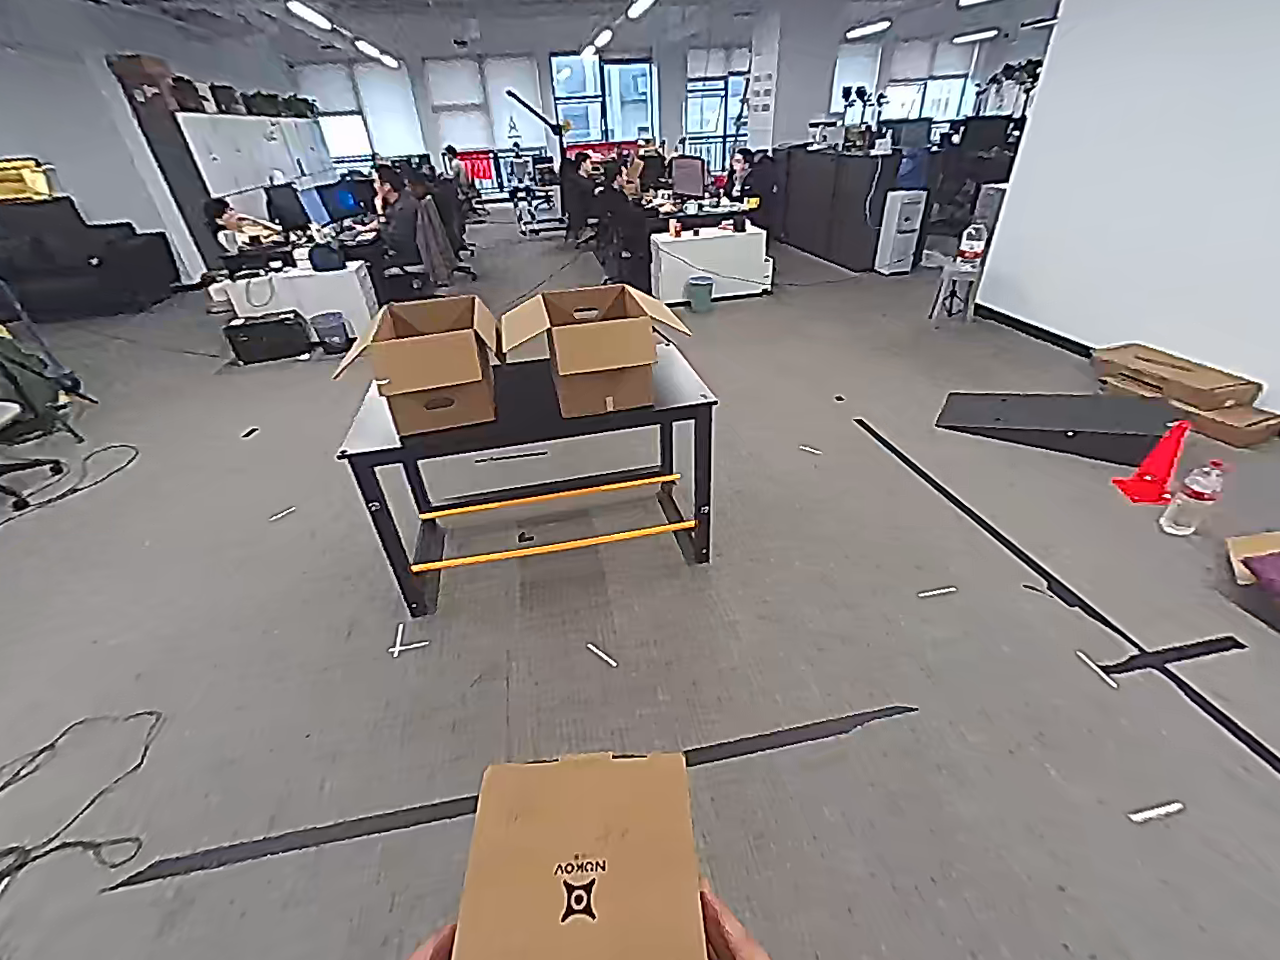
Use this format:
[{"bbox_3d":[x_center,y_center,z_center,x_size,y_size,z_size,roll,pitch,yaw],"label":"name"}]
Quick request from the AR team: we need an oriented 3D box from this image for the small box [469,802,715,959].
[{"bbox_3d":[-0.031,0.377,0.411,0.168,0.176,0.179,-4,37,-1],"label":"small box"}]
